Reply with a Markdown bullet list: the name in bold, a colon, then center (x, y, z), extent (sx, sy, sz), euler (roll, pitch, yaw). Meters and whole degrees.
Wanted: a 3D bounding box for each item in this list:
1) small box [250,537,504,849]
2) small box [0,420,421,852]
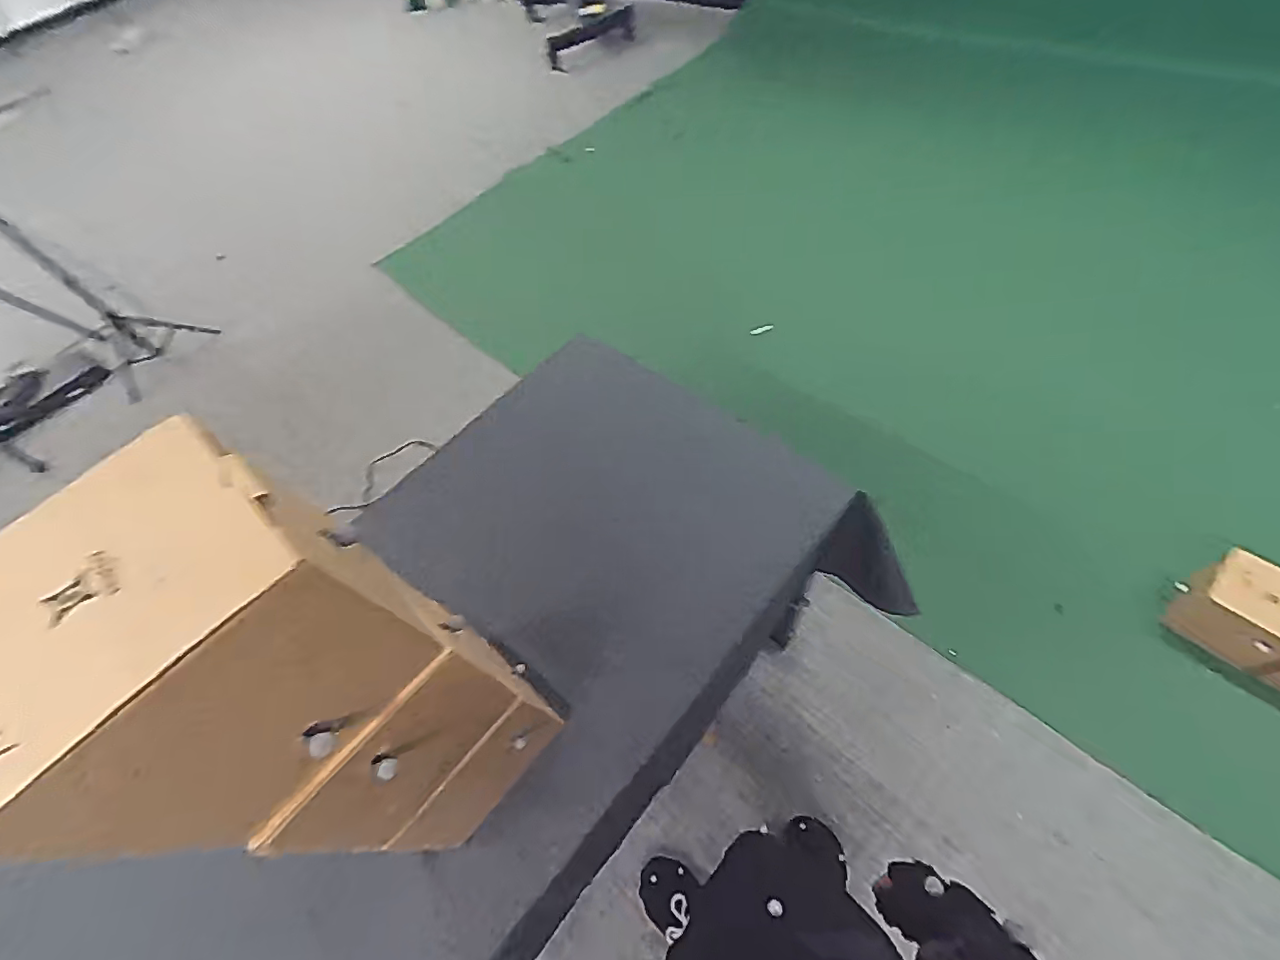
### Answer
- **small box**: center (-0.246, 0.191, 0.490), extent (0.168, 0.176, 0.179), euler (33, 68, 26)
- **small box**: center (-0.274, 0.101, 0.356), extent (0.168, 0.176, 0.179), euler (35, 68, 27)
